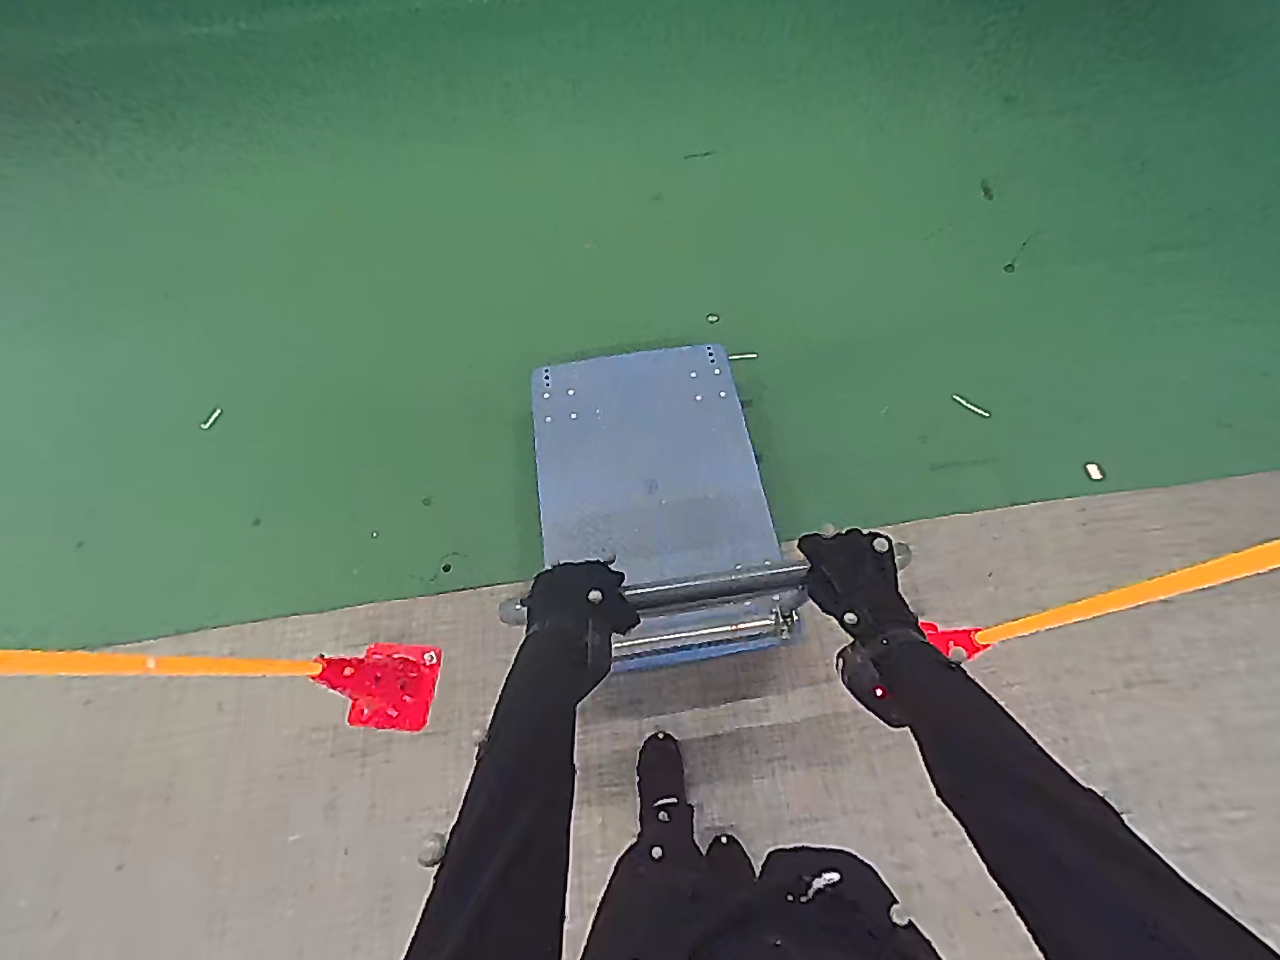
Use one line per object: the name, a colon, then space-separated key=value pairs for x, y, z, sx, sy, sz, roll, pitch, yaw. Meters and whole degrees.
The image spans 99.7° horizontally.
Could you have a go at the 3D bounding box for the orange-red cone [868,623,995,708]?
orange-red cone: x=0.671 y=0.388 z=1.197 sx=0.198 sy=0.360 sz=0.199 roll=2 pitch=65 yaw=3
